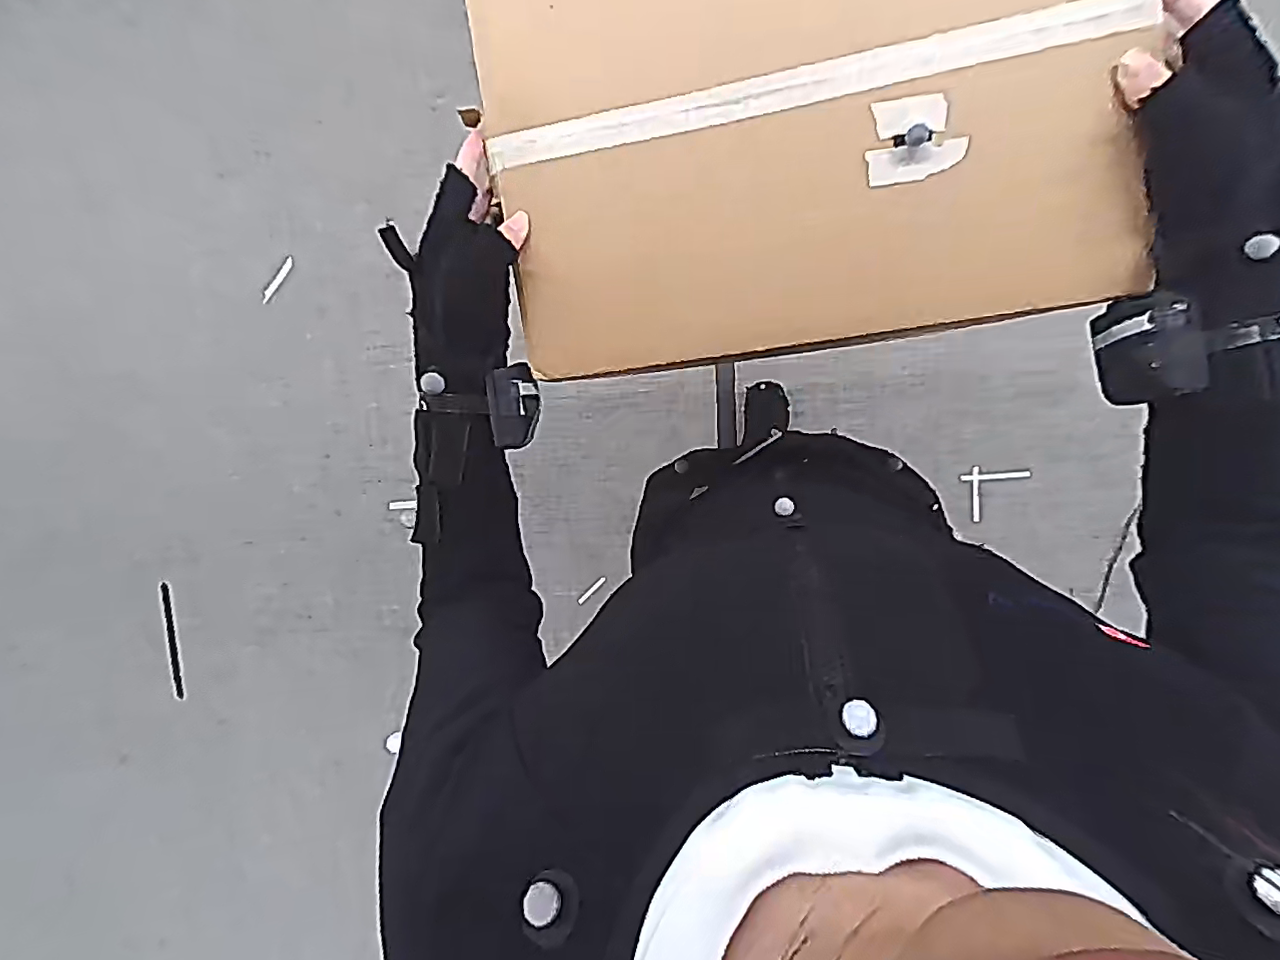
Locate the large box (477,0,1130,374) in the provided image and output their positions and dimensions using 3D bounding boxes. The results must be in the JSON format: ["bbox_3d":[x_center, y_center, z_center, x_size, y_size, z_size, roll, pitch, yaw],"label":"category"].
[{"bbox_3d":[0.115,-0.283,0.499,0.408,0.320,0.320,-7,101,8],"label":"large box"}]
